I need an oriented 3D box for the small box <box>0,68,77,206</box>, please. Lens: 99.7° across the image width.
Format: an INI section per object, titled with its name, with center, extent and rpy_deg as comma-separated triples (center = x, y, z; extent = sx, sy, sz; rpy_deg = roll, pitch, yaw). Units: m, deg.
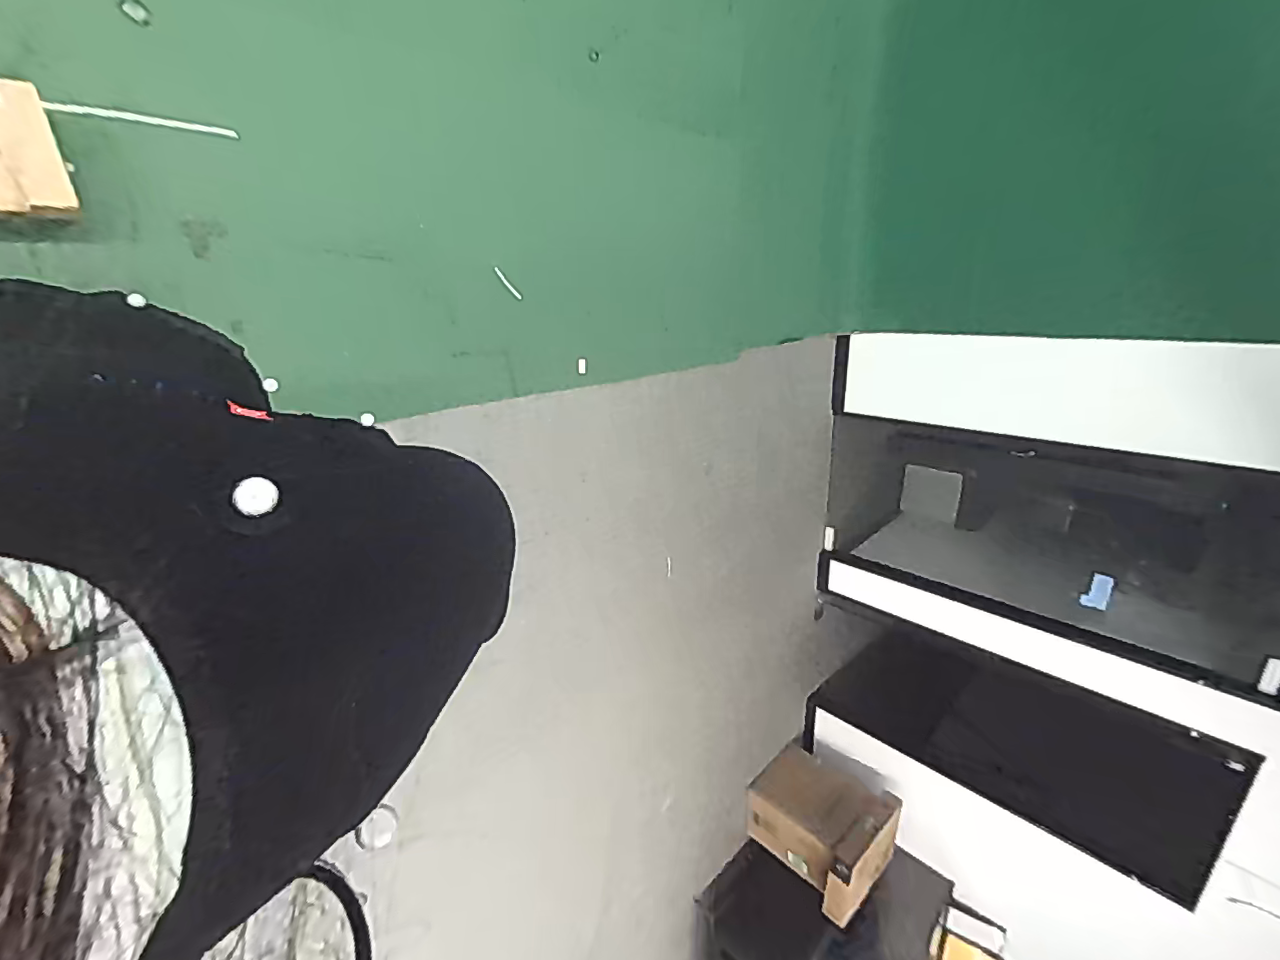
[small box]
center = -1.033, -0.537, 0.854
extent = 0.168, 0.176, 0.179
rpy_deg = -20, 119, -39
